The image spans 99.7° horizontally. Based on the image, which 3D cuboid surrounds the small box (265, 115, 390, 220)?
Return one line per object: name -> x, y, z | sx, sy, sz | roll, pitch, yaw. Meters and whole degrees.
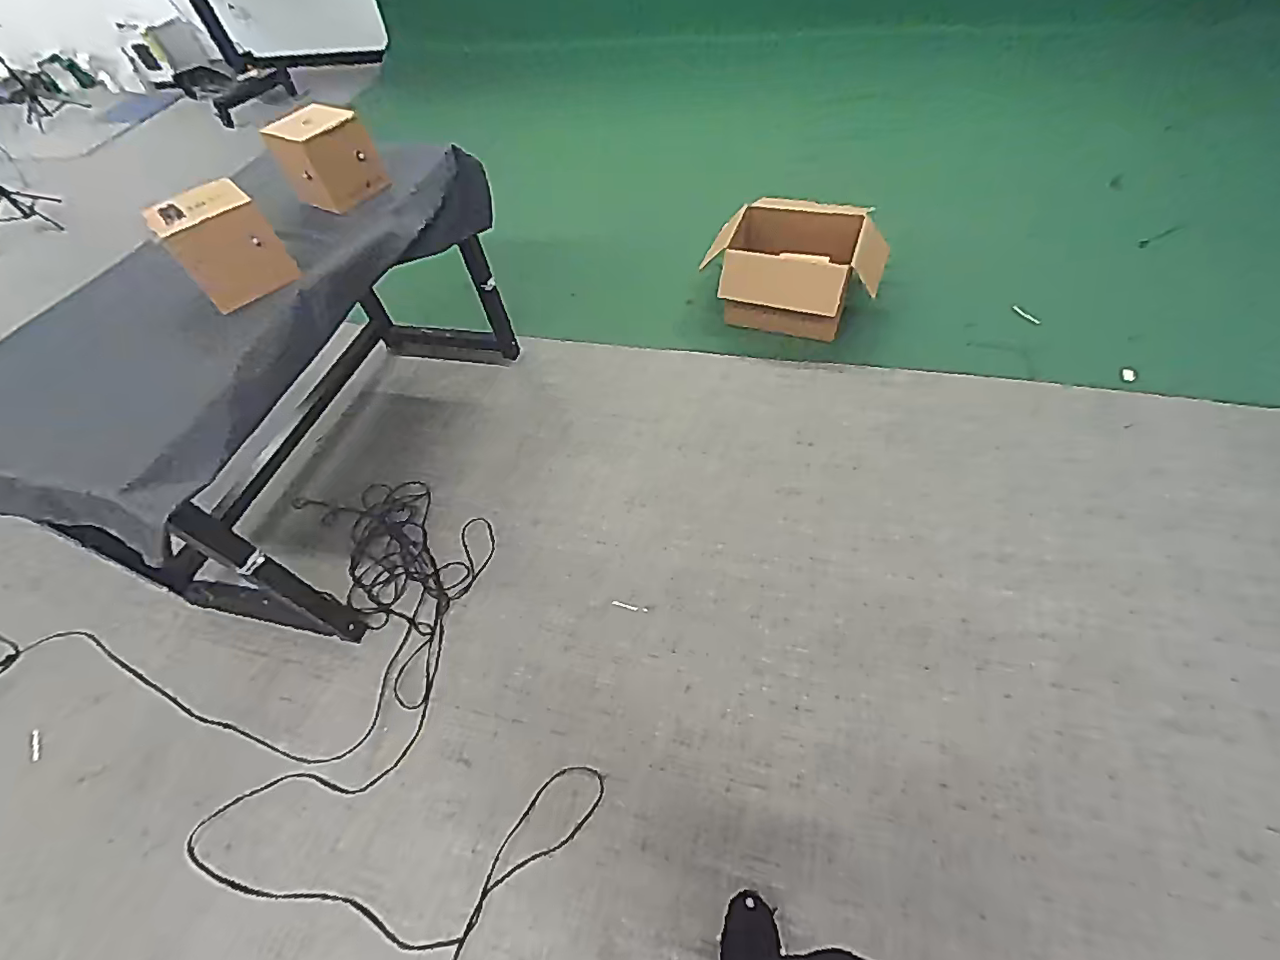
small box -> -0.761, -0.771, 1.338 | 0.179, 0.176, 0.168 | 24, 59, 25
